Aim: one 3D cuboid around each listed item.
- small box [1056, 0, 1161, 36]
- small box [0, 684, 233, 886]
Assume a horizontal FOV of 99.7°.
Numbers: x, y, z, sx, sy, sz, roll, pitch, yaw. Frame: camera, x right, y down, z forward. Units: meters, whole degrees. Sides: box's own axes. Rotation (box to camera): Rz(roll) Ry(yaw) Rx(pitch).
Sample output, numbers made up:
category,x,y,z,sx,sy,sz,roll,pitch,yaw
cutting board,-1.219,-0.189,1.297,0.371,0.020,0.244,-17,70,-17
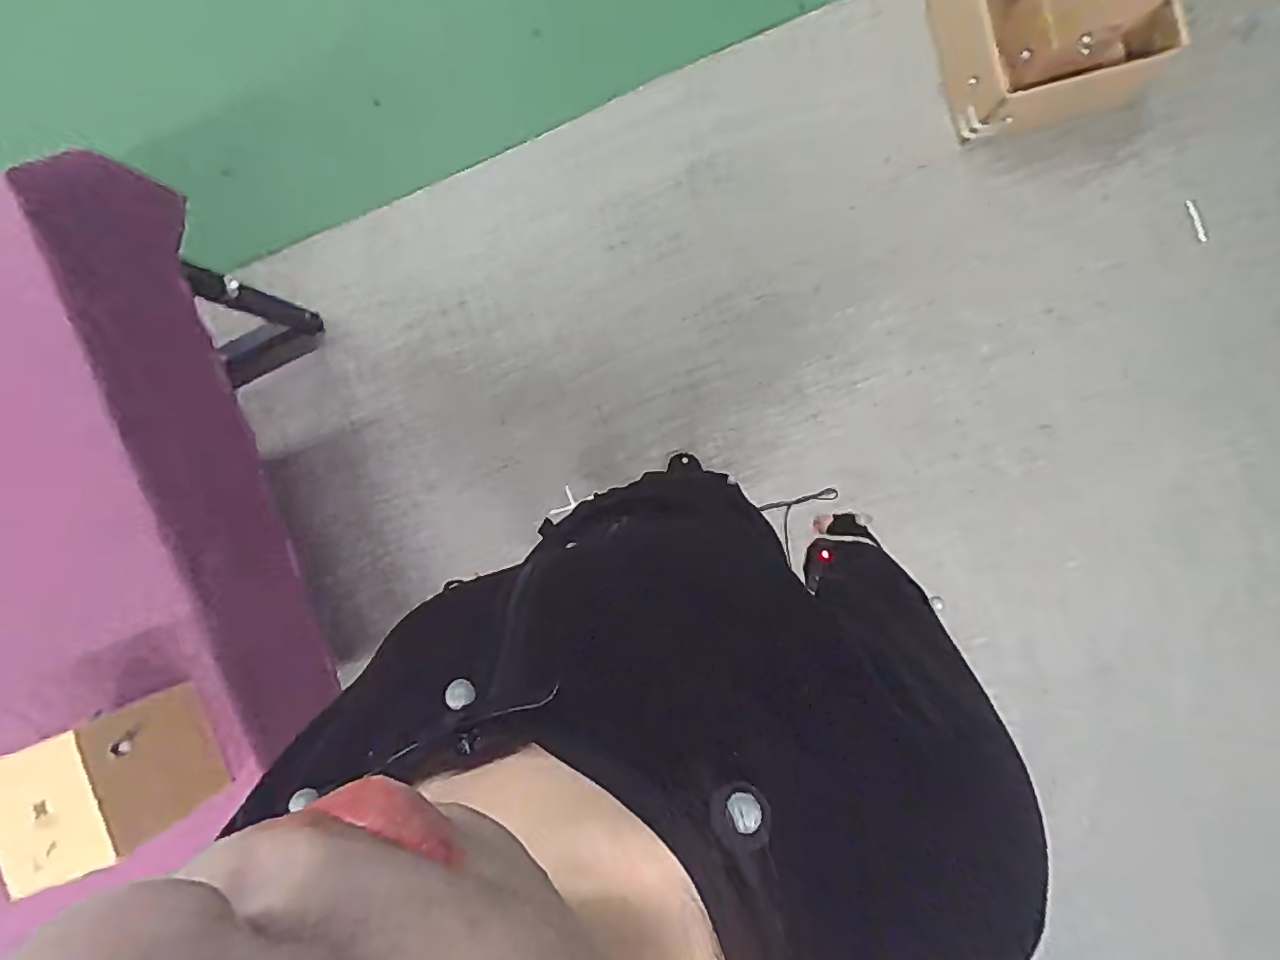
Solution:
category,x,y,z,sx,sy,sz,roll,pitch,yaw
small box,0.963,-1.037,1.074,0.168,0.176,0.179,-14,89,7
small box,-0.739,0.413,0.768,0.168,0.176,0.179,-21,89,7
